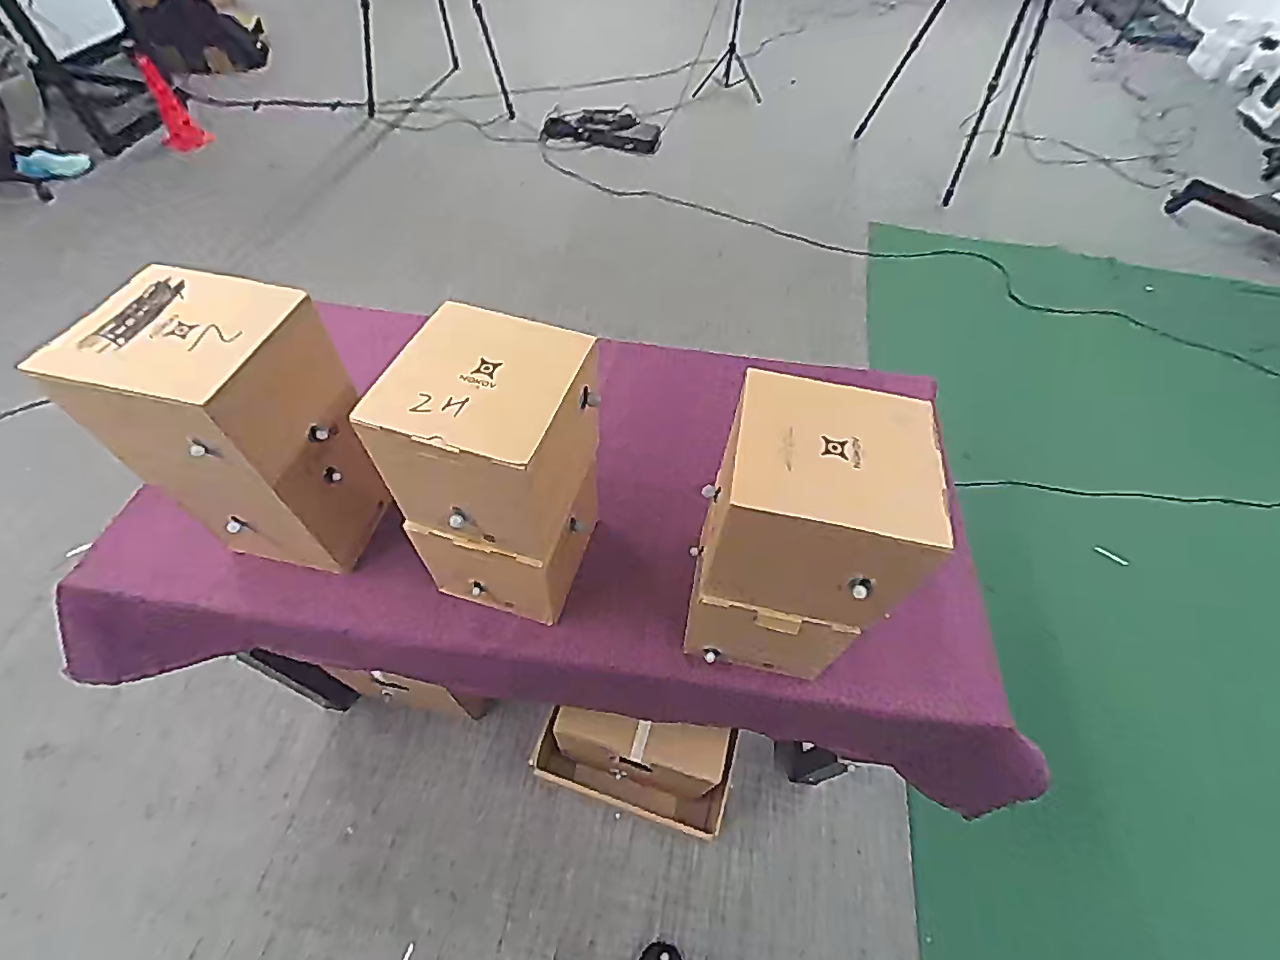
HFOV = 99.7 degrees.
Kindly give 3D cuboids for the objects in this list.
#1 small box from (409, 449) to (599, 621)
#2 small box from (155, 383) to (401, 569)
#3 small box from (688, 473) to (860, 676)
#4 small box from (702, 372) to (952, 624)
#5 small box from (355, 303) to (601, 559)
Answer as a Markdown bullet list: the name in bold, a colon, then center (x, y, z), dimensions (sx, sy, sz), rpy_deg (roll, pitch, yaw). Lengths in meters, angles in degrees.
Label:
- **small box**: center (-0.157, 0.053, 0.692), dimensions (0.168, 0.176, 0.179), rpy_deg (15, 56, 8)
- **small box**: center (-0.450, 0.000, 0.710), dimensions (0.179, 0.176, 0.168), rpy_deg (11, 56, 5)
- **small box**: center (0.156, 0.120, 0.660), dimensions (0.168, 0.176, 0.179), rpy_deg (11, 54, 5)
- **small box**: center (0.168, 0.024, 0.528), dimensions (0.179, 0.176, 0.168), rpy_deg (12, 54, 6)
- **small box**: center (-0.146, -0.047, 0.562), dimensions (0.168, 0.176, 0.179), rpy_deg (16, 56, 8)
